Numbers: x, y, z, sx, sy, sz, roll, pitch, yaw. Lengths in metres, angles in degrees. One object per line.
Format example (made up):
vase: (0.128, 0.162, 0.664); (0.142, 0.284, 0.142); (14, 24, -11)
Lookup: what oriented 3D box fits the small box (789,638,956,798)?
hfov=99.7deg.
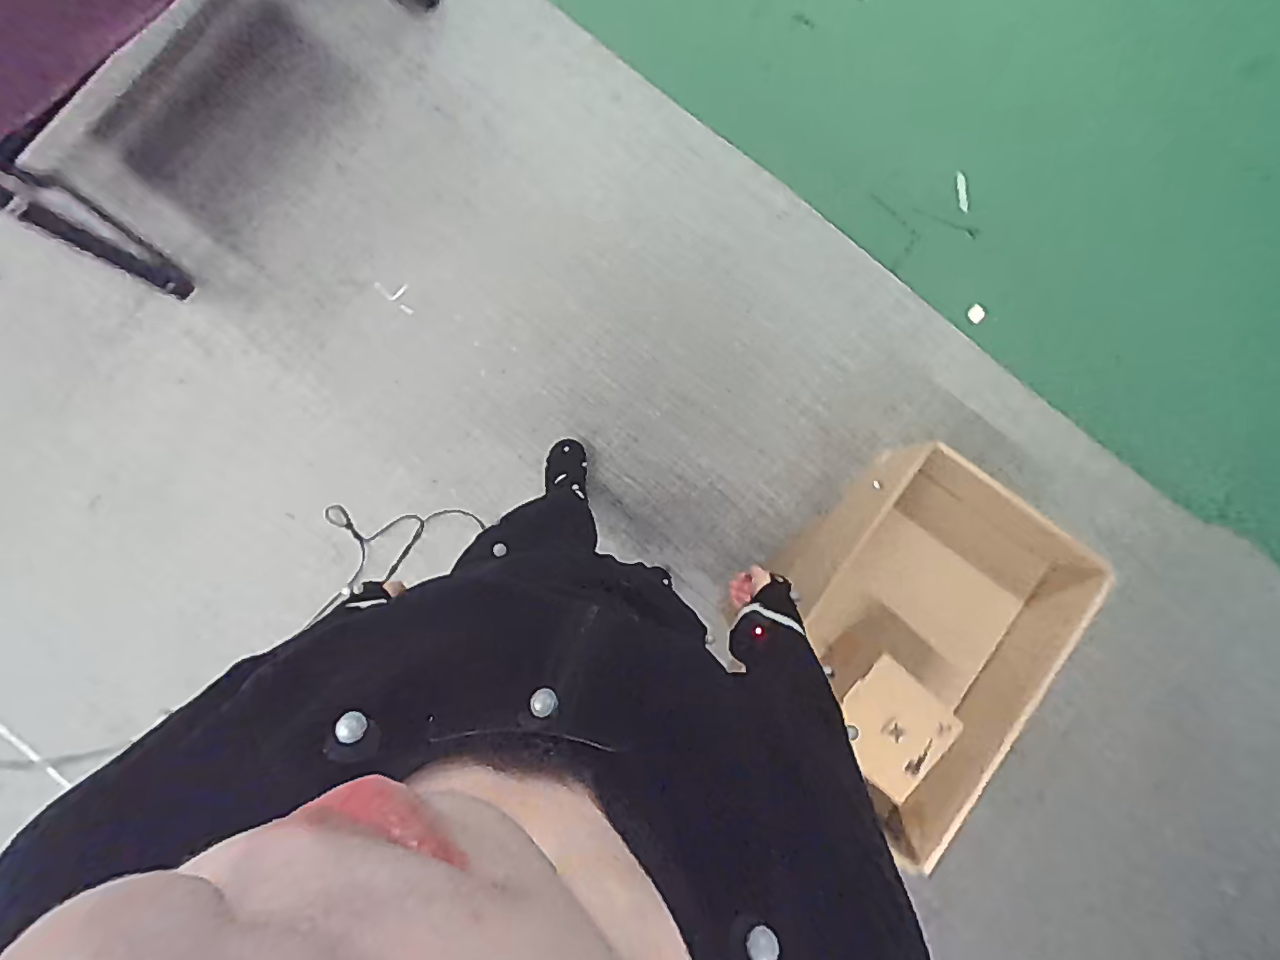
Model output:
small box: (0.394, 0.401, 0.951); (0.179, 0.176, 0.168); (44, 86, 2)
